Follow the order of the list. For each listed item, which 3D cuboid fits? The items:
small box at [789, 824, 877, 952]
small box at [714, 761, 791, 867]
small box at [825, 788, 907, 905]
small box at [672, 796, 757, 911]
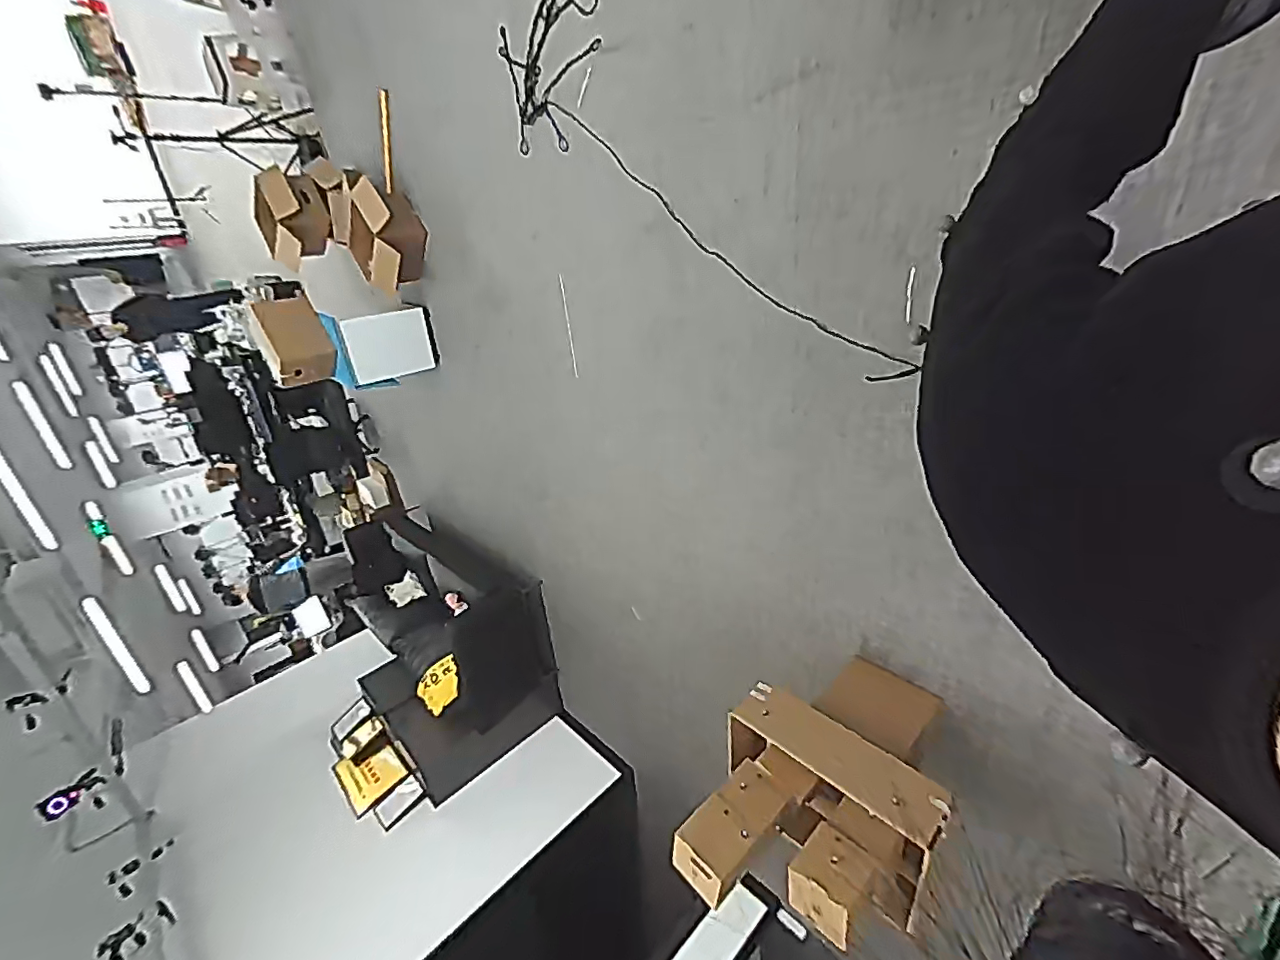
[{"bbox_3d":[0.513,1.073,1.438,0.168,0.176,0.179,18,123,45],"label":"small box"},{"bbox_3d":[0.331,0.987,1.613,0.168,0.176,0.179,27,129,40],"label":"small box"},{"bbox_3d":[0.639,1.032,1.536,0.168,0.176,0.179,17,122,44],"label":"small box"},{"bbox_3d":[0.209,1.039,1.517,0.168,0.176,0.179,30,132,38],"label":"small box"}]
